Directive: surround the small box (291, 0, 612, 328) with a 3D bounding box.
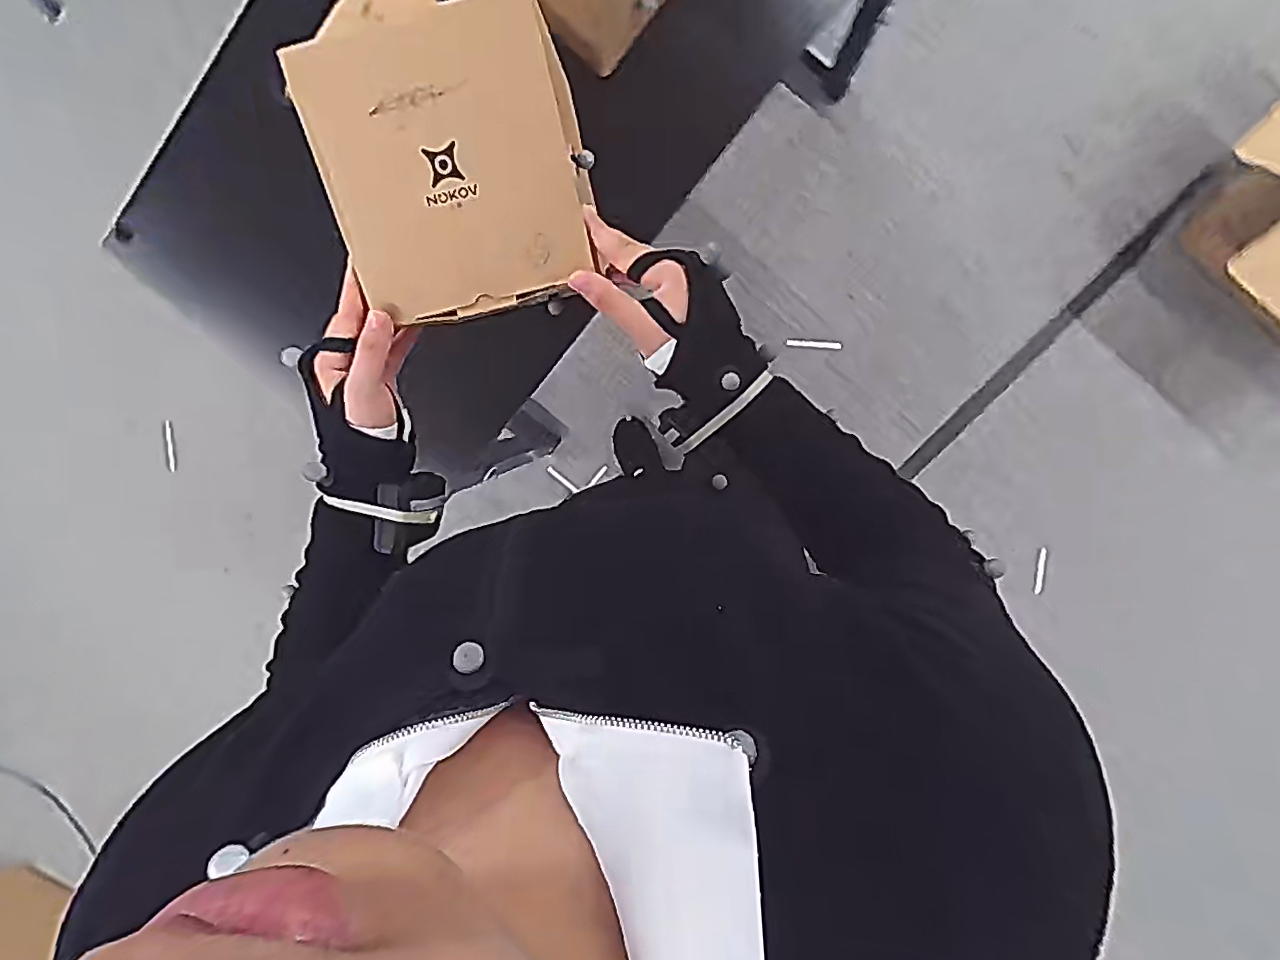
[{"bbox_3d":[-0.121,-0.229,0.431,0.168,0.176,0.179,-11,108,4],"label":"small box"}]

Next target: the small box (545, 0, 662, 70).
[{"bbox_3d":[-0.068,-0.610,0.589,0.179,0.176,0.168,41,99,-2],"label":"small box"}]
